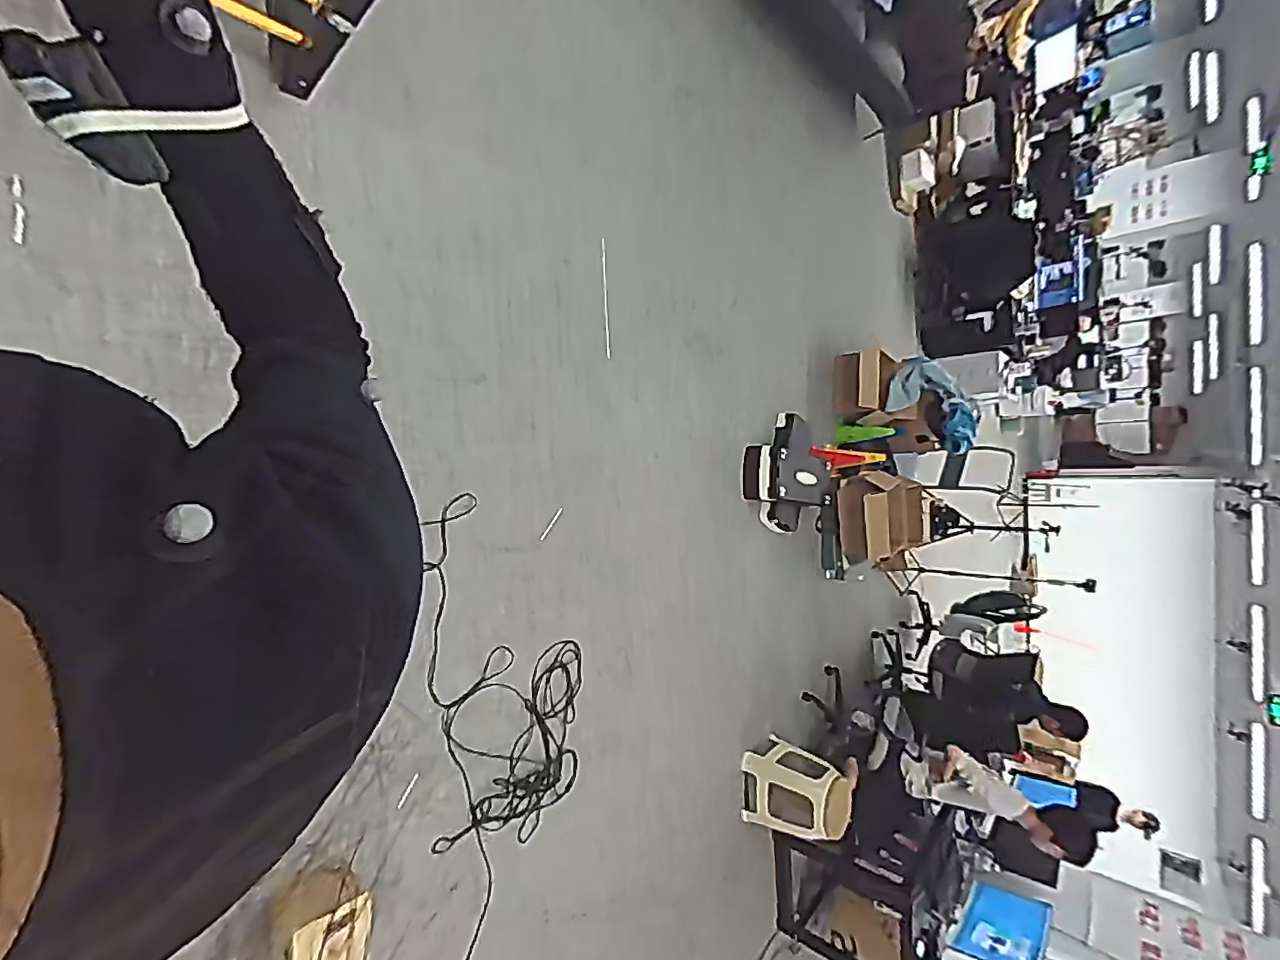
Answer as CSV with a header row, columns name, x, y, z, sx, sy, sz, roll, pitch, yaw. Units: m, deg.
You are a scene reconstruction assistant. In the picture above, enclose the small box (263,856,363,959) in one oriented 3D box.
name,x,y,z,sx,sy,sz,roll,pitch,yaw
small box,-0.782,1.041,1.290,0.168,0.176,0.179,0,90,-48
